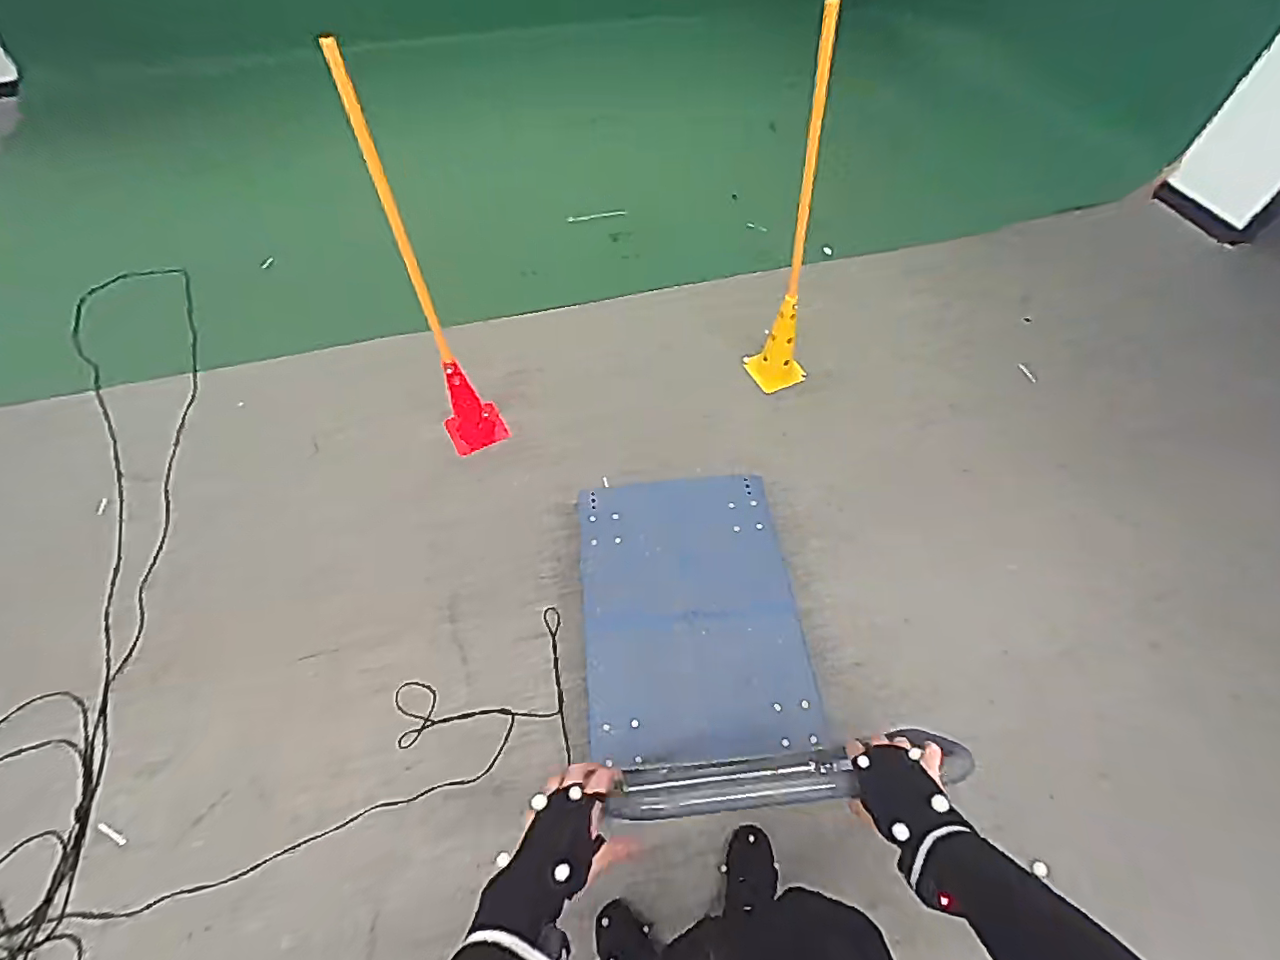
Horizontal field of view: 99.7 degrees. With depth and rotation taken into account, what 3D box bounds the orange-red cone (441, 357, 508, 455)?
[{"bbox_3d":[-0.618,-0.284,1.882,0.199,0.360,0.198,-26,59,-13],"label":"orange-red cone"}]
